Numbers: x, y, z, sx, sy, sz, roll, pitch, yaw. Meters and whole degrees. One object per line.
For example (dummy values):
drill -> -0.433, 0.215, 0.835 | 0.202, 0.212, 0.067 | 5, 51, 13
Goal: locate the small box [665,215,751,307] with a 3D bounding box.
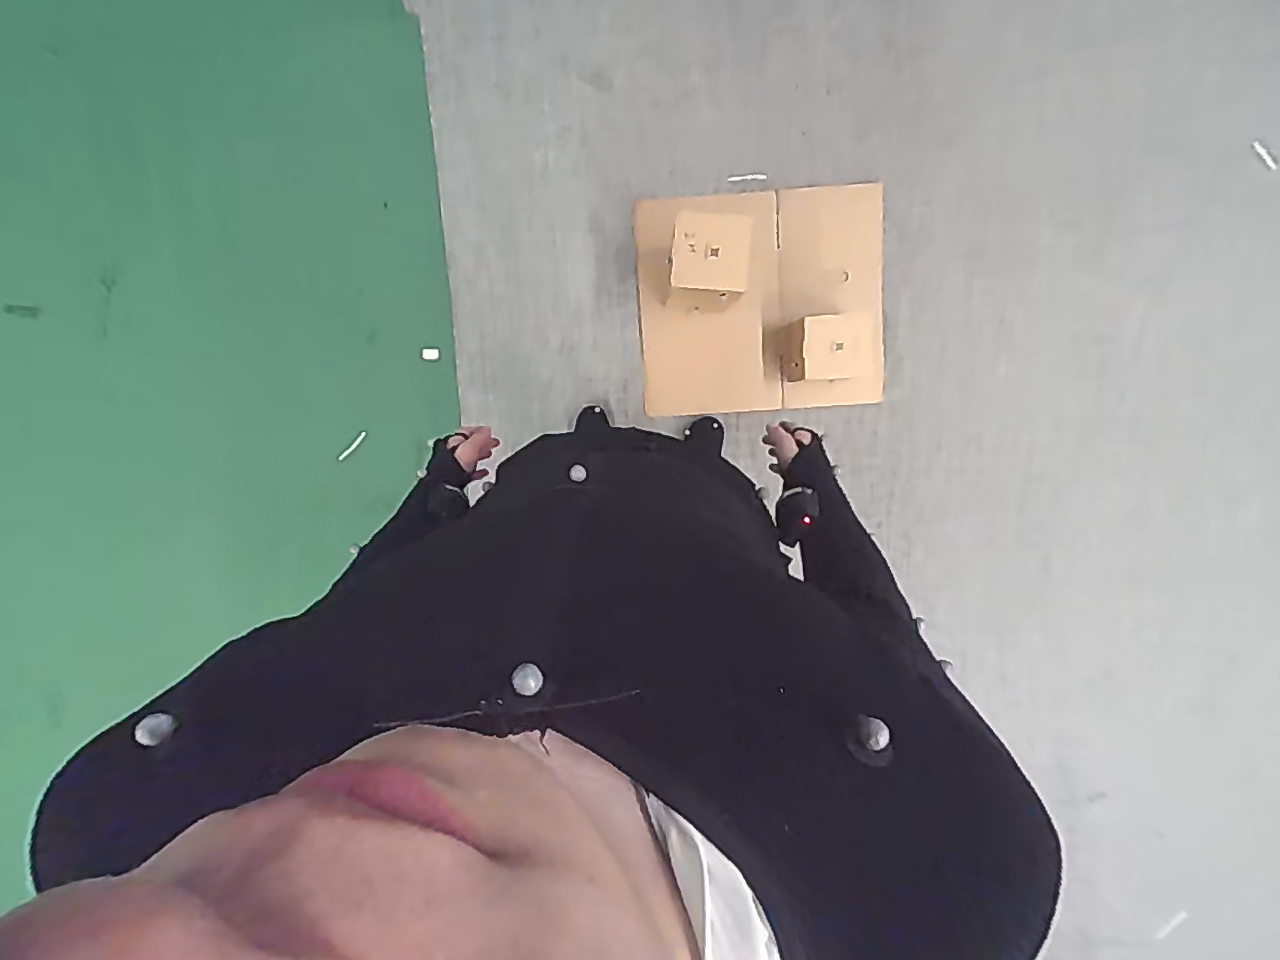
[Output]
small box -> 0.156, -0.518, 1.301 | 0.179, 0.176, 0.168 | 4, 97, 0

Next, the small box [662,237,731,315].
small box -> 0.155, -0.548, 1.464 | 0.179, 0.176, 0.168 | 5, 98, 0

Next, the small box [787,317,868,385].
small box -> 0.508, -0.350, 1.489 | 0.179, 0.176, 0.168 | -2, 98, 2
